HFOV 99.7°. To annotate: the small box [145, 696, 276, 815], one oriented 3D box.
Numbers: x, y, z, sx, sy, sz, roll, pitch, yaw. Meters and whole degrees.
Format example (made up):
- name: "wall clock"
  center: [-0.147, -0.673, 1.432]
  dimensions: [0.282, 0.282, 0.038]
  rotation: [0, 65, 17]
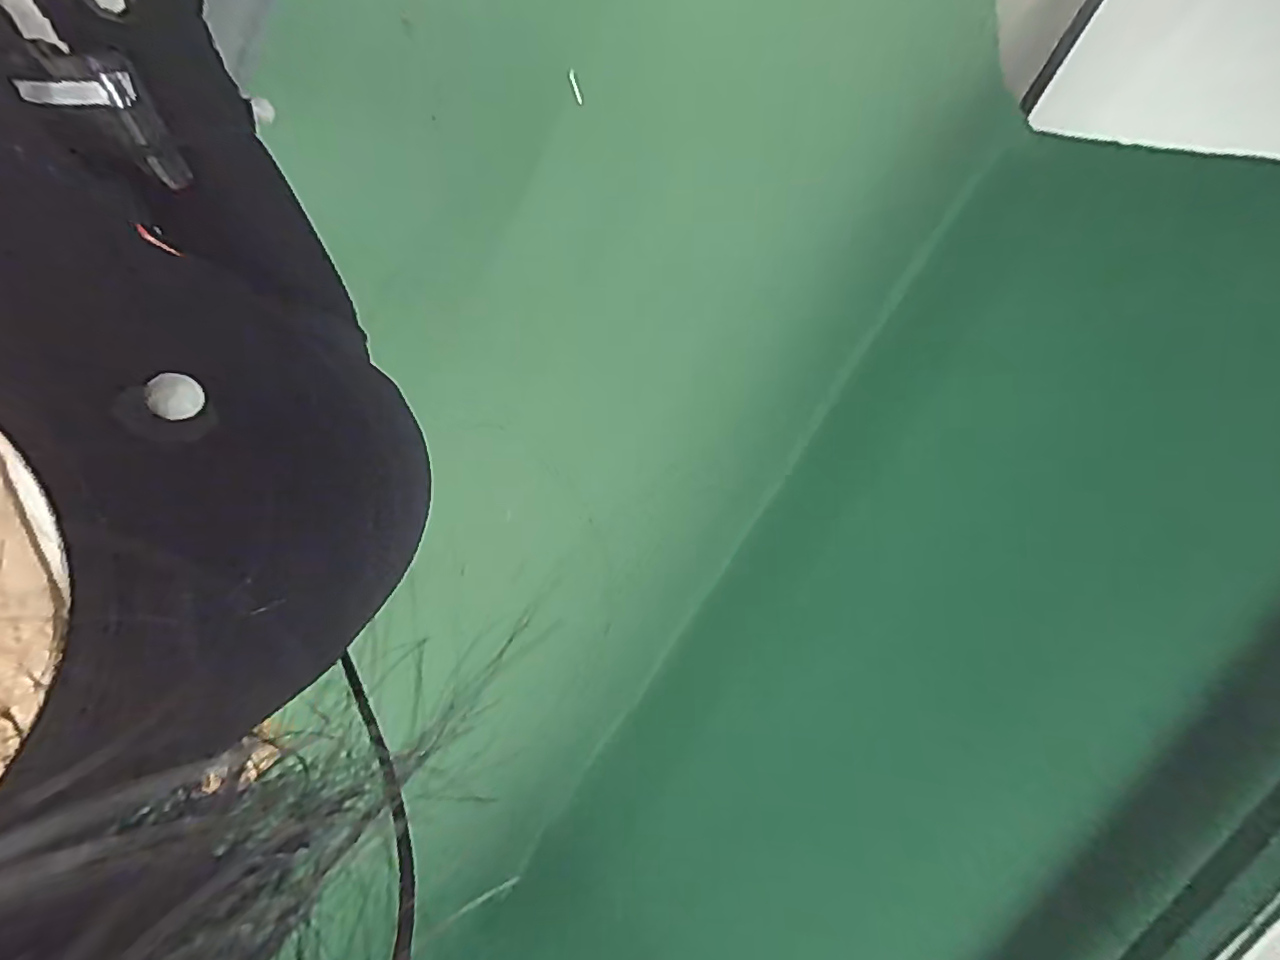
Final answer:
- name: "small box"
  center: [-0.990, 0.620, 1.246]
  dimensions: [0.168, 0.176, 0.179]
  rotation: [-55, 145, 6]
